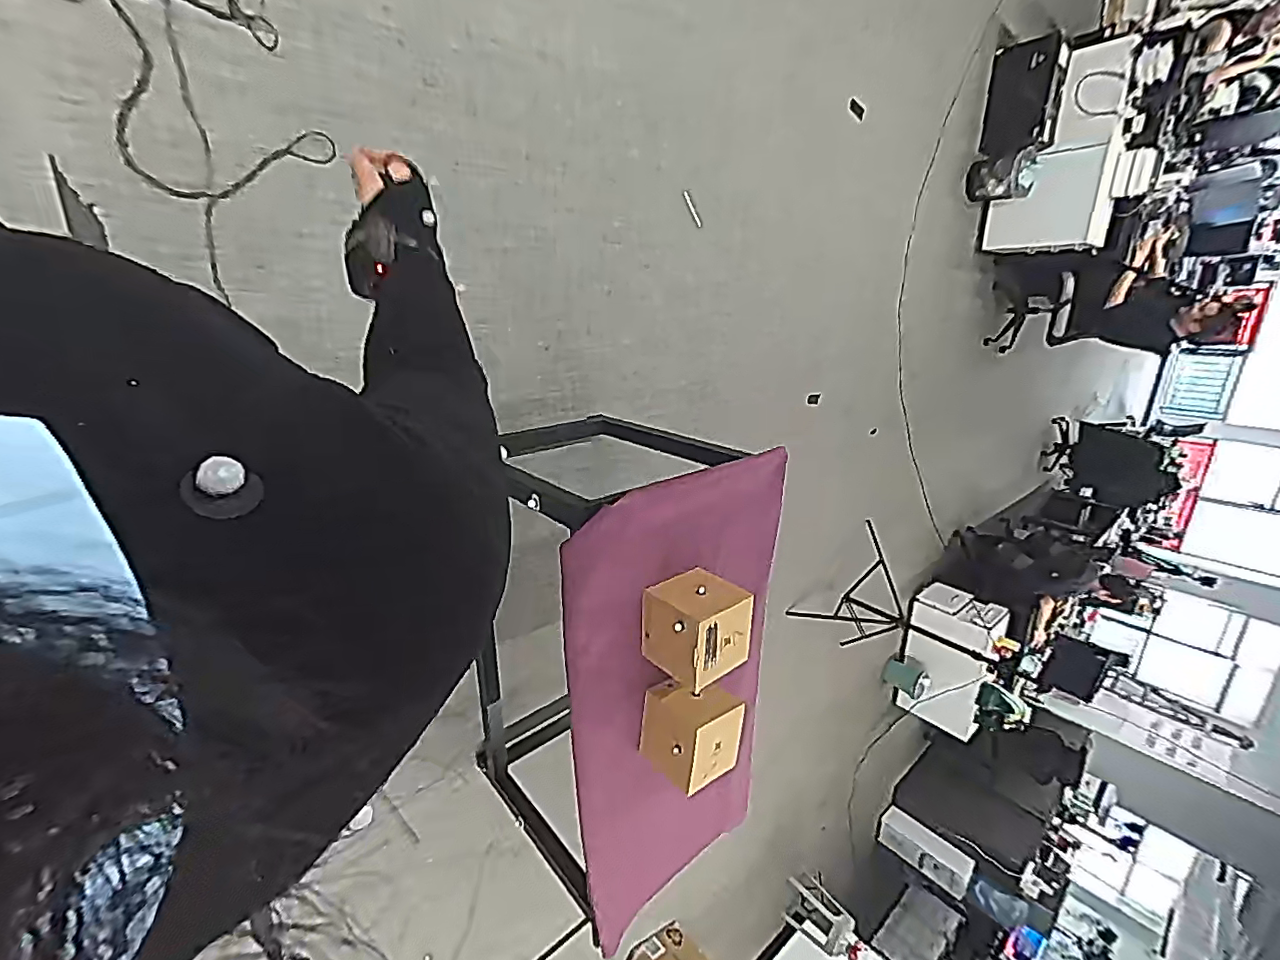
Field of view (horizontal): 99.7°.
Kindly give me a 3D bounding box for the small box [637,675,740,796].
[{"bbox_3d":[0.110,0.583,1.268,0.168,0.176,0.179,-5,107,-41],"label":"small box"}]
